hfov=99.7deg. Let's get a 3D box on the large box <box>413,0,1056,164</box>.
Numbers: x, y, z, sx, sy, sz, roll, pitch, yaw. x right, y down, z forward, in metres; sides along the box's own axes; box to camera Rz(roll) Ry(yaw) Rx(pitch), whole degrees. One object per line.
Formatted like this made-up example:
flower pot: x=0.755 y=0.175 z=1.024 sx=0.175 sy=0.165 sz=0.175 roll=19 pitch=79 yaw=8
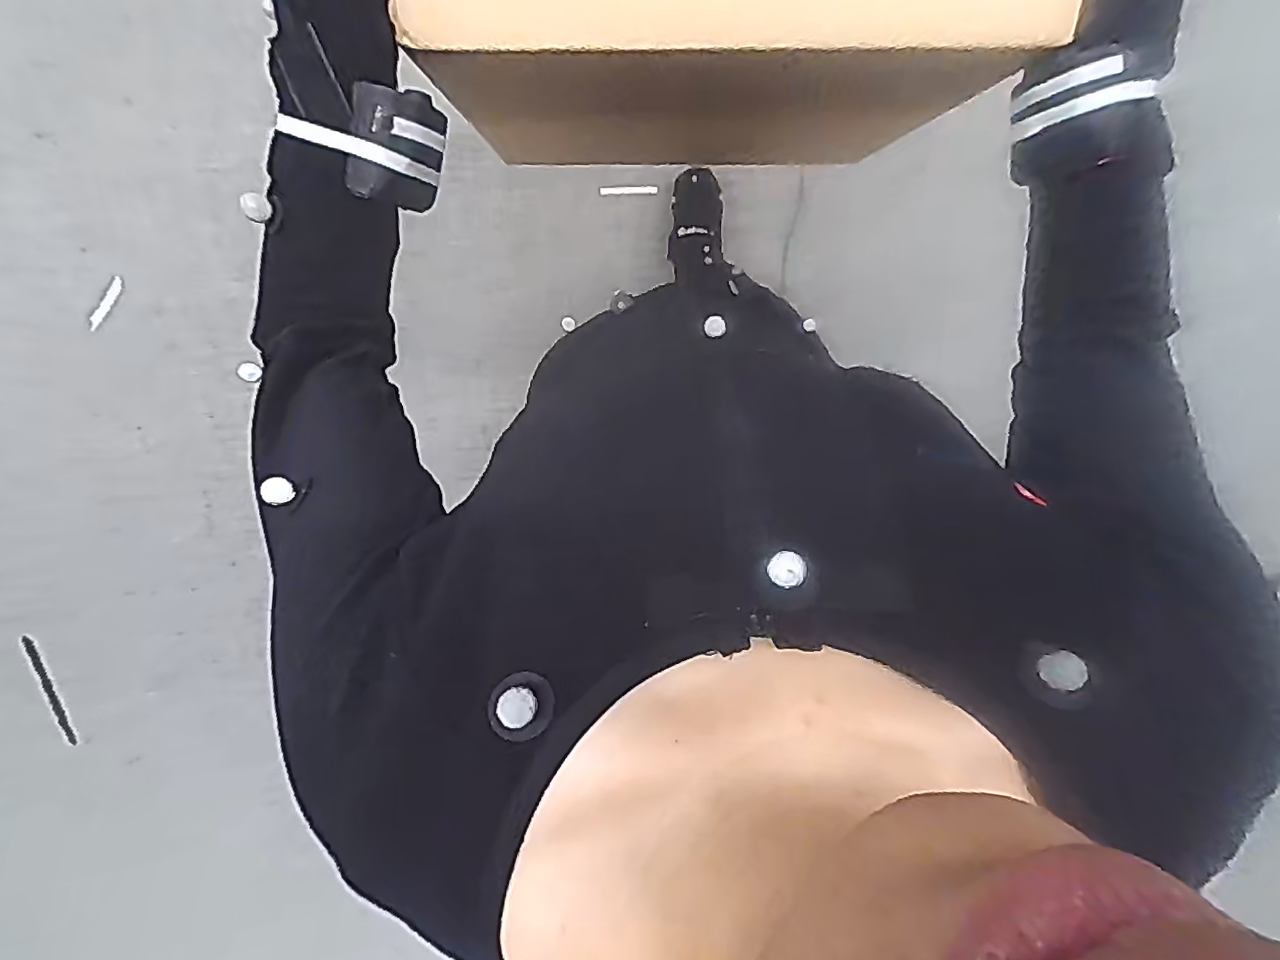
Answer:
large box: x=0.049 y=-0.465 z=0.428 sx=0.408 sy=0.320 sz=0.320 roll=-2 pitch=109 yaw=-2
